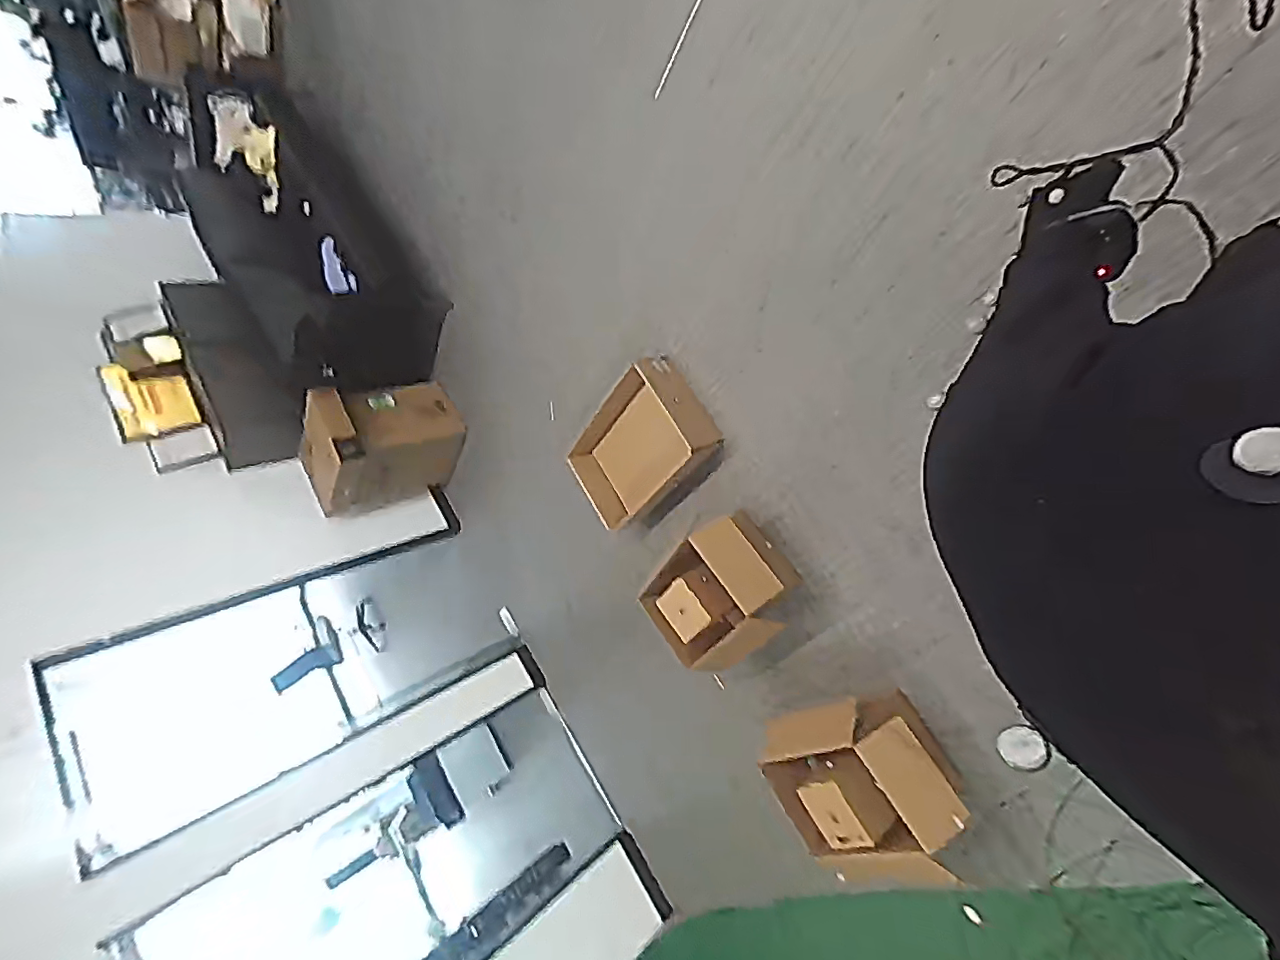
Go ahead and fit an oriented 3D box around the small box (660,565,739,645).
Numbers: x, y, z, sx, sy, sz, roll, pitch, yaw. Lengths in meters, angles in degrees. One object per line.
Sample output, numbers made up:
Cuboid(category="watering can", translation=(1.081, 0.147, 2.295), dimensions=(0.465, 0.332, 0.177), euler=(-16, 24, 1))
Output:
Cuboid(category="small box", translation=(0.203, 0.408, 1.791), dimensions=(0.168, 0.176, 0.179), euler=(52, 134, 22))
